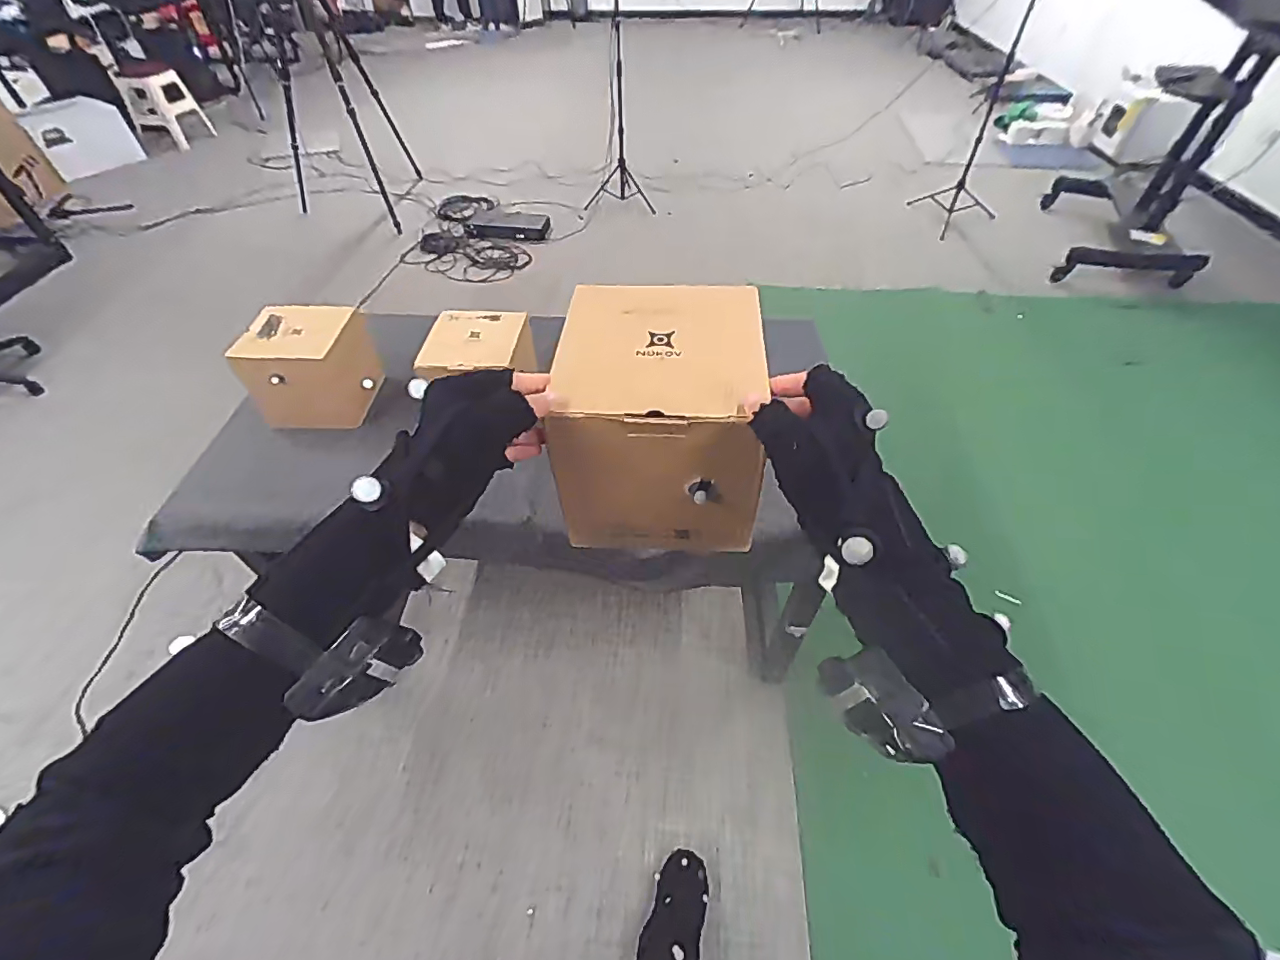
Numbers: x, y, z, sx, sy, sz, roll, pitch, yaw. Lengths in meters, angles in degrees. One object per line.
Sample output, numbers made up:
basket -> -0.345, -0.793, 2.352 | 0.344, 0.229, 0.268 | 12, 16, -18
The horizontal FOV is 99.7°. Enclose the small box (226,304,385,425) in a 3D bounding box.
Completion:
small box -> -0.627, -0.220, 1.041 | 0.179, 0.176, 0.168 | 1, 49, 0

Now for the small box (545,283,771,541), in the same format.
small box -> 0.021, -0.059, 0.495 | 0.168, 0.176, 0.179 | 2, 49, 4

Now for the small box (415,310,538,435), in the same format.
small box -> -0.296, -0.202, 1.026 | 0.168, 0.176, 0.179 | 2, 49, 2
